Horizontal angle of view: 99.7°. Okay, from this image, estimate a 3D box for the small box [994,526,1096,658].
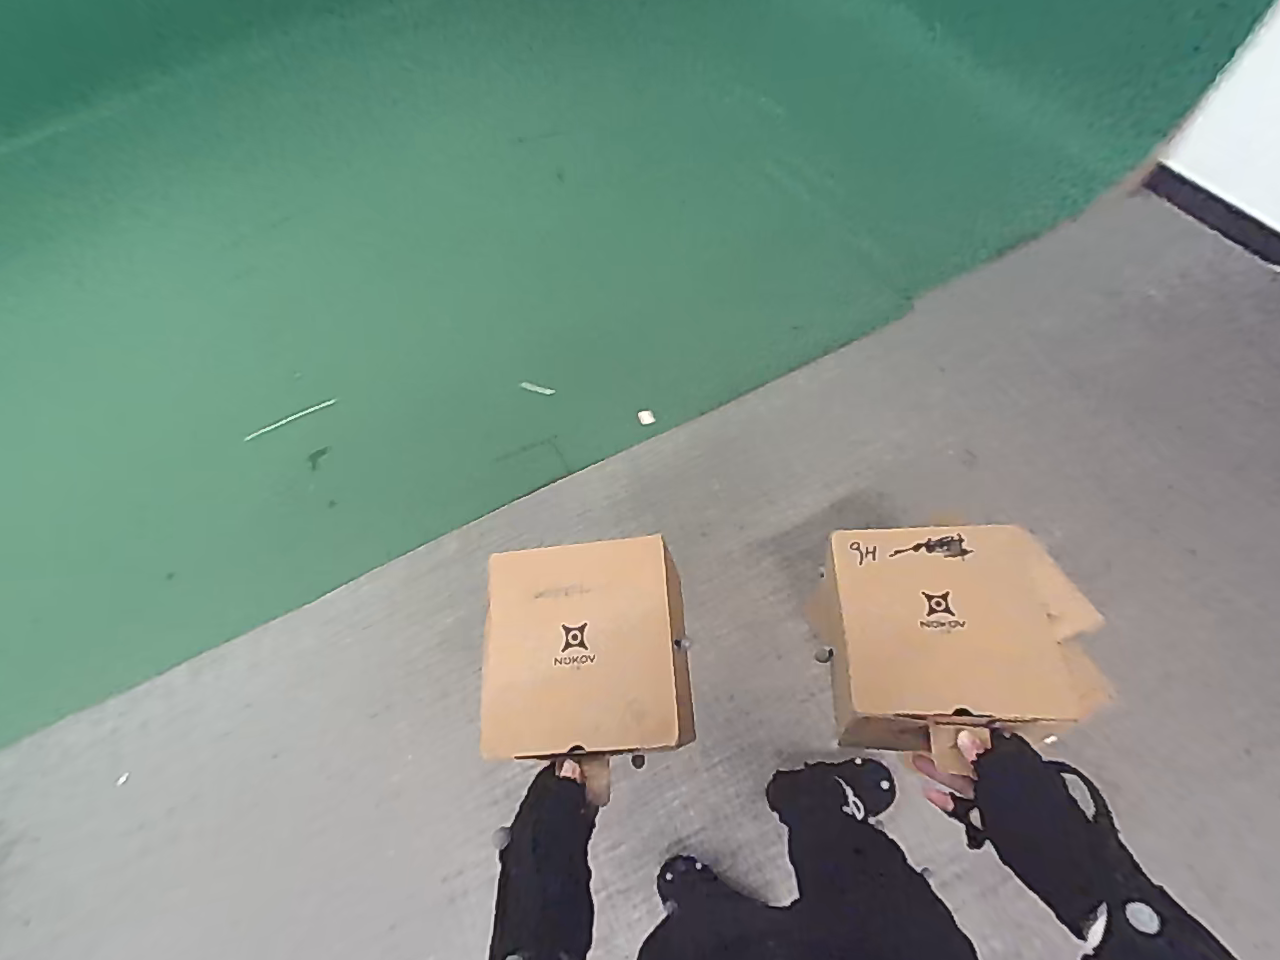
[{"bbox_3d":[0.593,0.209,0.915,0.168,0.176,0.179,-30,65,0],"label":"small box"}]

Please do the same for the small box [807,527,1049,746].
[{"bbox_3d":[0.265,0.165,0.548,0.168,0.176,0.179,-4,57,12],"label":"small box"}]

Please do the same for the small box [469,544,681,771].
[{"bbox_3d":[-0.055,0.178,0.539,0.168,0.176,0.179,-9,65,6],"label":"small box"}]
